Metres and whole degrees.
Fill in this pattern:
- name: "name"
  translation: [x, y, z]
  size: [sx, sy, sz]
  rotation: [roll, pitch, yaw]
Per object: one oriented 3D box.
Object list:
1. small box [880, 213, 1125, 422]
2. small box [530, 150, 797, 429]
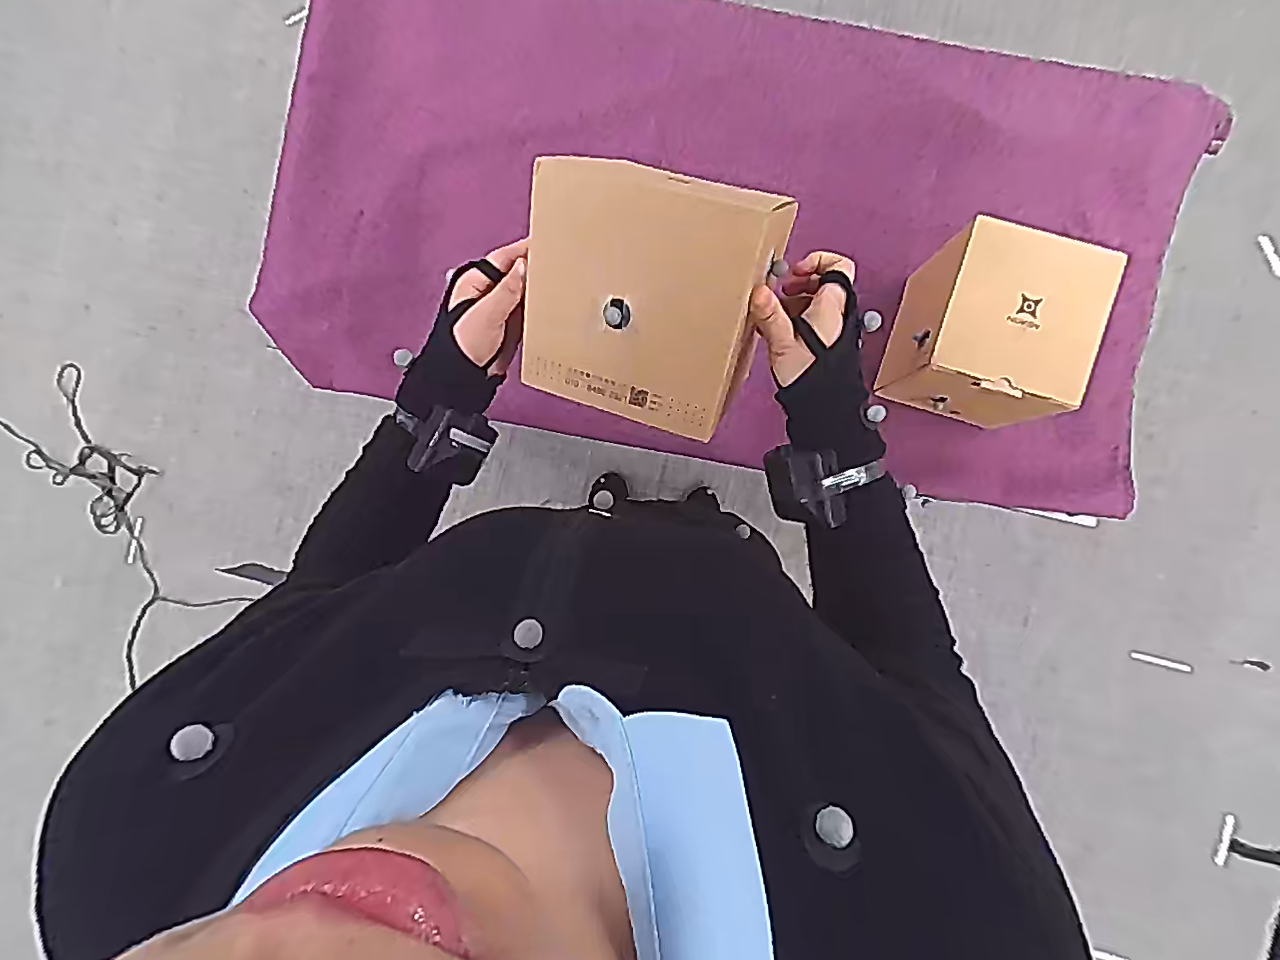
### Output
- name: "small box"
  translation: [0.421, -0.183, 0.661]
  size: [0.168, 0.176, 0.179]
  rotation: [18, 90, 3]
- name: "small box"
  translation: [0.019, -0.162, 0.457]
  size: [0.168, 0.179, 0.176]
  rotation: [20, 122, 10]
